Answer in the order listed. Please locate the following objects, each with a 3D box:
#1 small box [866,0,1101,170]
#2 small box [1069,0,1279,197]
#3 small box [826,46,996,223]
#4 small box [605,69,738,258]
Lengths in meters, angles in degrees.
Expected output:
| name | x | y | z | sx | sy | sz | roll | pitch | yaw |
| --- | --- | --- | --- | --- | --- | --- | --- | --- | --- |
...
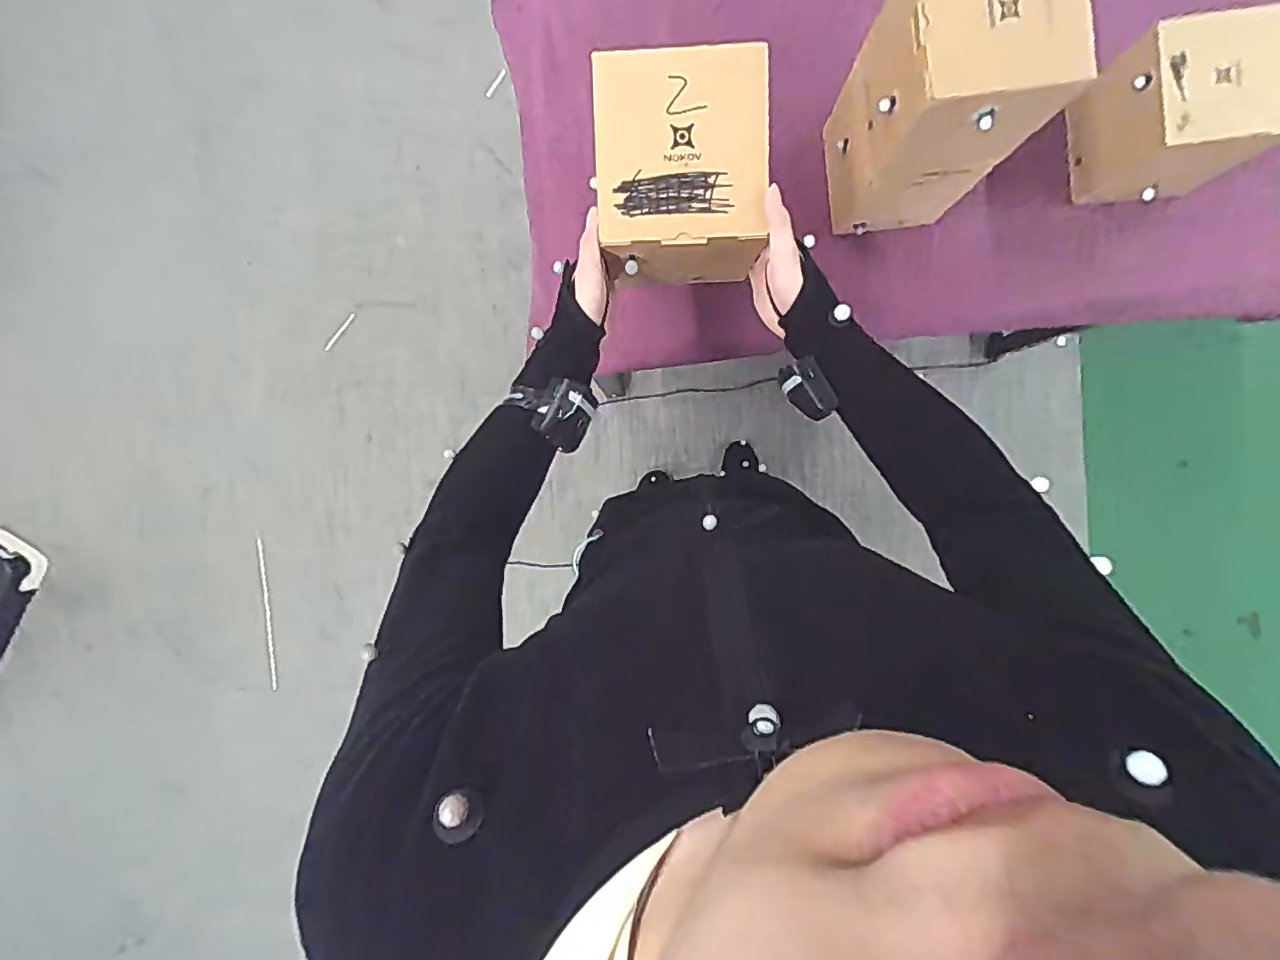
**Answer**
| name | x | y | z | sx | sy | sz | roll | pitch | yaw |
| --- | --- | --- | --- | --- | --- | --- | --- | --- | --- |
| small box | 0.382 | -0.493 | 0.636 | 0.179 | 0.176 | 0.168 | -6 | 92 | 1 |
| small box | 0.776 | -0.538 | 0.785 | 0.179 | 0.176 | 0.168 | -5 | 91 | 2 |
| small box | 0.387 | -0.502 | 0.799 | 0.168 | 0.176 | 0.179 | -6 | 91 | 2 |
| small box | 0.044 | -0.459 | 0.809 | 0.168 | 0.176 | 0.179 | -8 | 91 | 2 |
